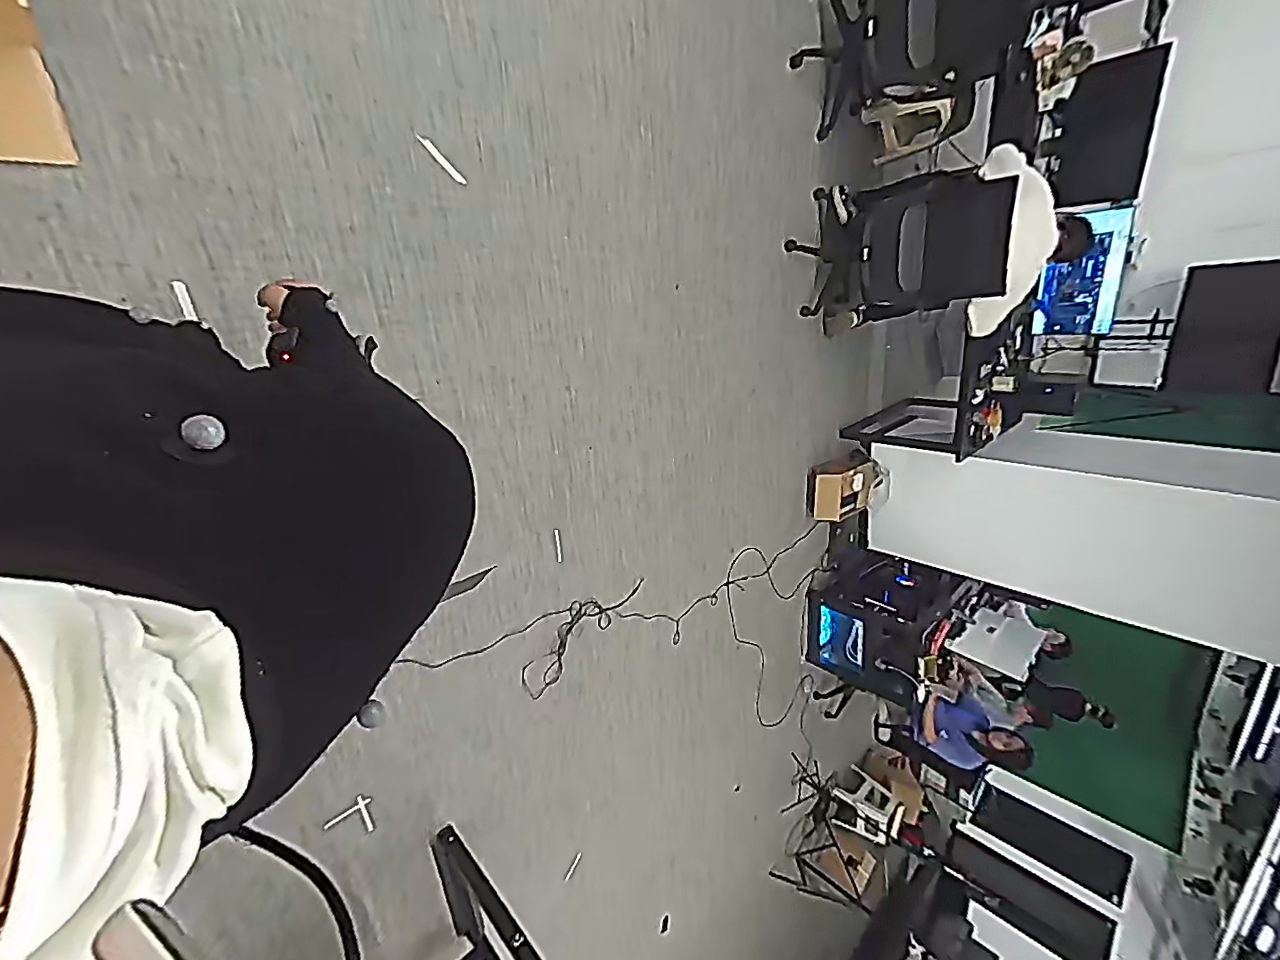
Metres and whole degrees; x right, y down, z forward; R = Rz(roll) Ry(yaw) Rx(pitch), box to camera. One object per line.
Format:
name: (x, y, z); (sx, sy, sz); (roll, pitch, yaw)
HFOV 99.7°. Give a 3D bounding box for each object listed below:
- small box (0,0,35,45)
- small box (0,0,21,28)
small box: (-1.151, -0.837, 0.875); (0.179, 0.176, 0.168); (-31, 121, -35)
small box: (-1.036, -0.797, 0.767); (0.168, 0.176, 0.179); (-20, 115, -40)
